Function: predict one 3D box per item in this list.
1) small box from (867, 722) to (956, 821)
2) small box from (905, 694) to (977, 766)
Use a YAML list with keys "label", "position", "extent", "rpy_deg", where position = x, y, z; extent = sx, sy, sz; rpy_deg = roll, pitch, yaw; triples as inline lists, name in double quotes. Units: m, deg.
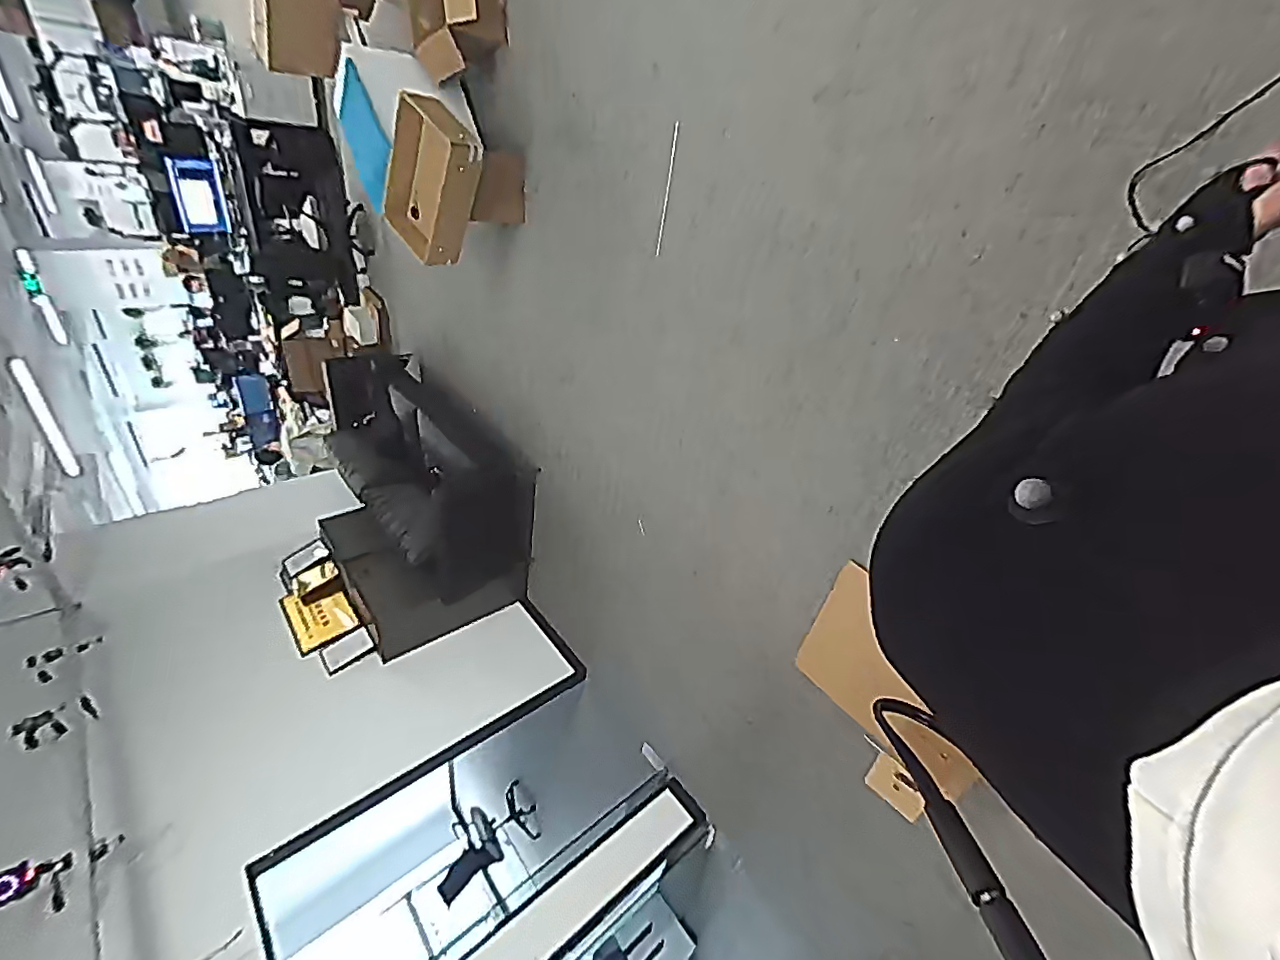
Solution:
- label: "small box"
  position: [0.840, 0.890, 1.667]
  extent: [0.168, 0.176, 0.179]
  rpy_deg: [36, 132, 37]
- label: "small box"
  position: [0.963, 0.846, 1.765]
  extent: [0.168, 0.176, 0.179]
  rpy_deg: [33, 129, 39]
